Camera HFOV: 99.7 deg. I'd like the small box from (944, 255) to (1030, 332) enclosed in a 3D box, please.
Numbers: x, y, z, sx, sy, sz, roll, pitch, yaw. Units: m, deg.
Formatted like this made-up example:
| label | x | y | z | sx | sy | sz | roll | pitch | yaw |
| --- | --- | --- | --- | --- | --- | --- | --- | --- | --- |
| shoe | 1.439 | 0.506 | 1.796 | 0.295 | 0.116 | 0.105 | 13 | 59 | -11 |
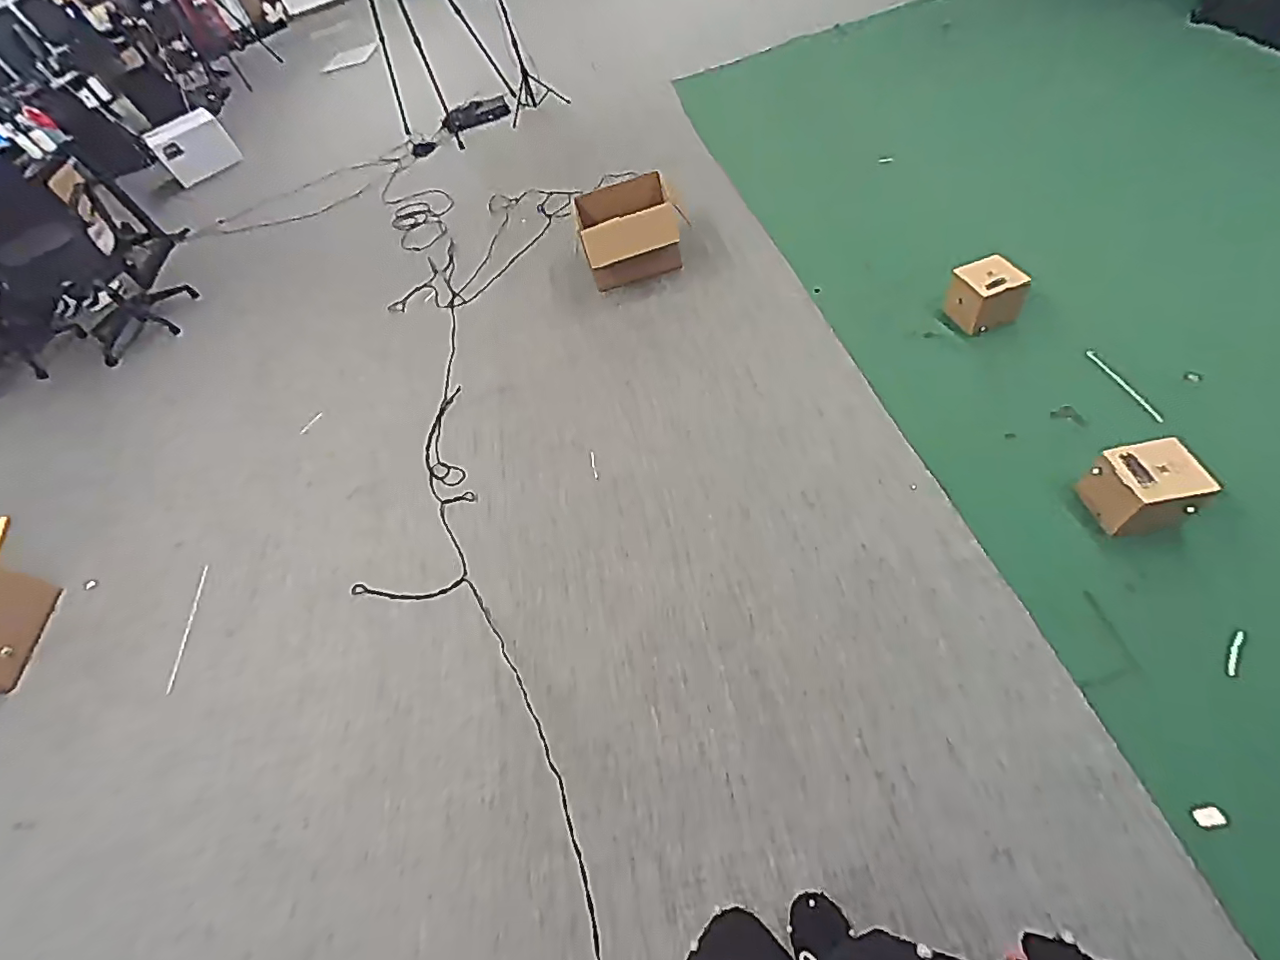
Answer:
| label | x | y | z | sx | sy | sz | roll | pitch | yaw |
| --- | --- | --- | --- | --- | --- | --- | --- | --- | --- |
| small box | 1.185 | -0.633 | 1.862 | 0.168 | 0.176 | 0.179 | -19 | 52 | 1 |
